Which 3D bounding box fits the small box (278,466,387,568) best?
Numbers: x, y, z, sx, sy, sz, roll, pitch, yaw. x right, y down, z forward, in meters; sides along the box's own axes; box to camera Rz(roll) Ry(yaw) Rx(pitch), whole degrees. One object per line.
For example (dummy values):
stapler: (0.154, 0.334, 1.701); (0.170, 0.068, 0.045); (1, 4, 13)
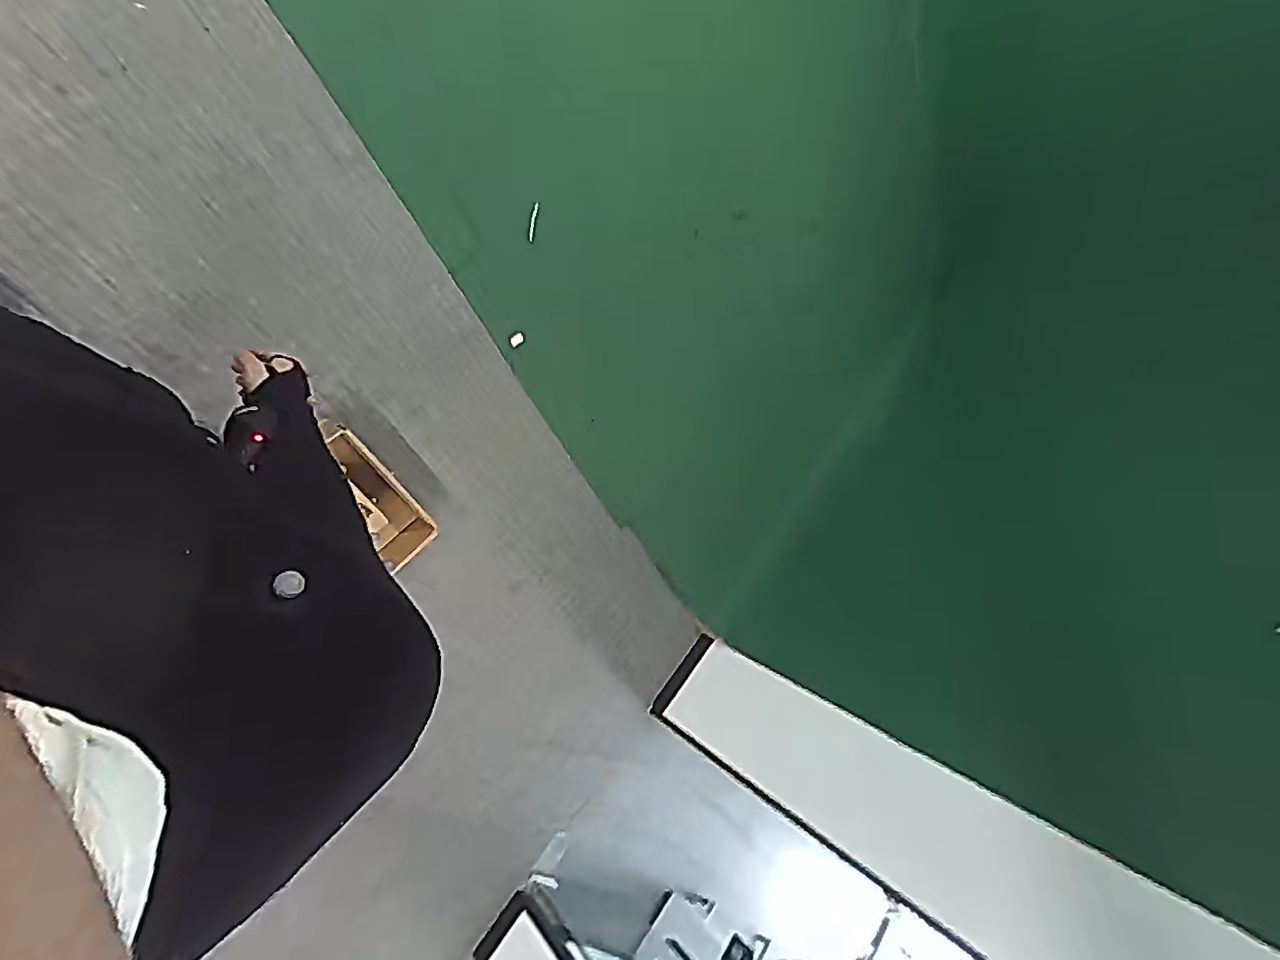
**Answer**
small box: (-0.800, 0.090, 1.398); (0.179, 0.176, 0.168); (-44, 130, -22)
